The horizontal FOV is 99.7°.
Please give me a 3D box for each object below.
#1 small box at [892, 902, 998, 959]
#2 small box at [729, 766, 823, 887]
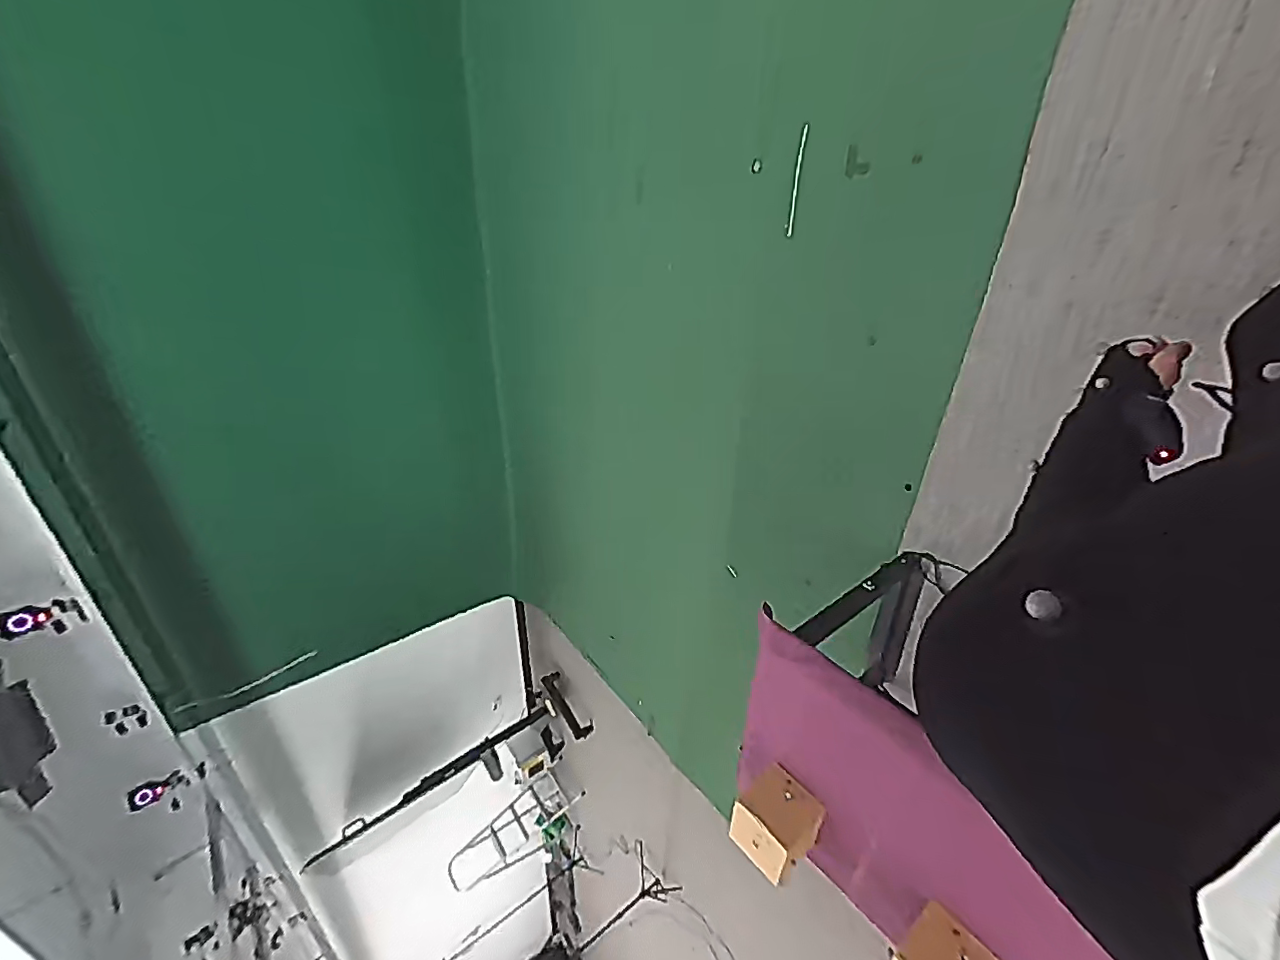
[{"bbox_3d":[0.636,1.060,1.142,0.168,0.176,0.179,32,130,42],"label":"small box"},{"bbox_3d":[0.363,0.916,1.439,0.168,0.176,0.179,31,129,40],"label":"small box"}]
